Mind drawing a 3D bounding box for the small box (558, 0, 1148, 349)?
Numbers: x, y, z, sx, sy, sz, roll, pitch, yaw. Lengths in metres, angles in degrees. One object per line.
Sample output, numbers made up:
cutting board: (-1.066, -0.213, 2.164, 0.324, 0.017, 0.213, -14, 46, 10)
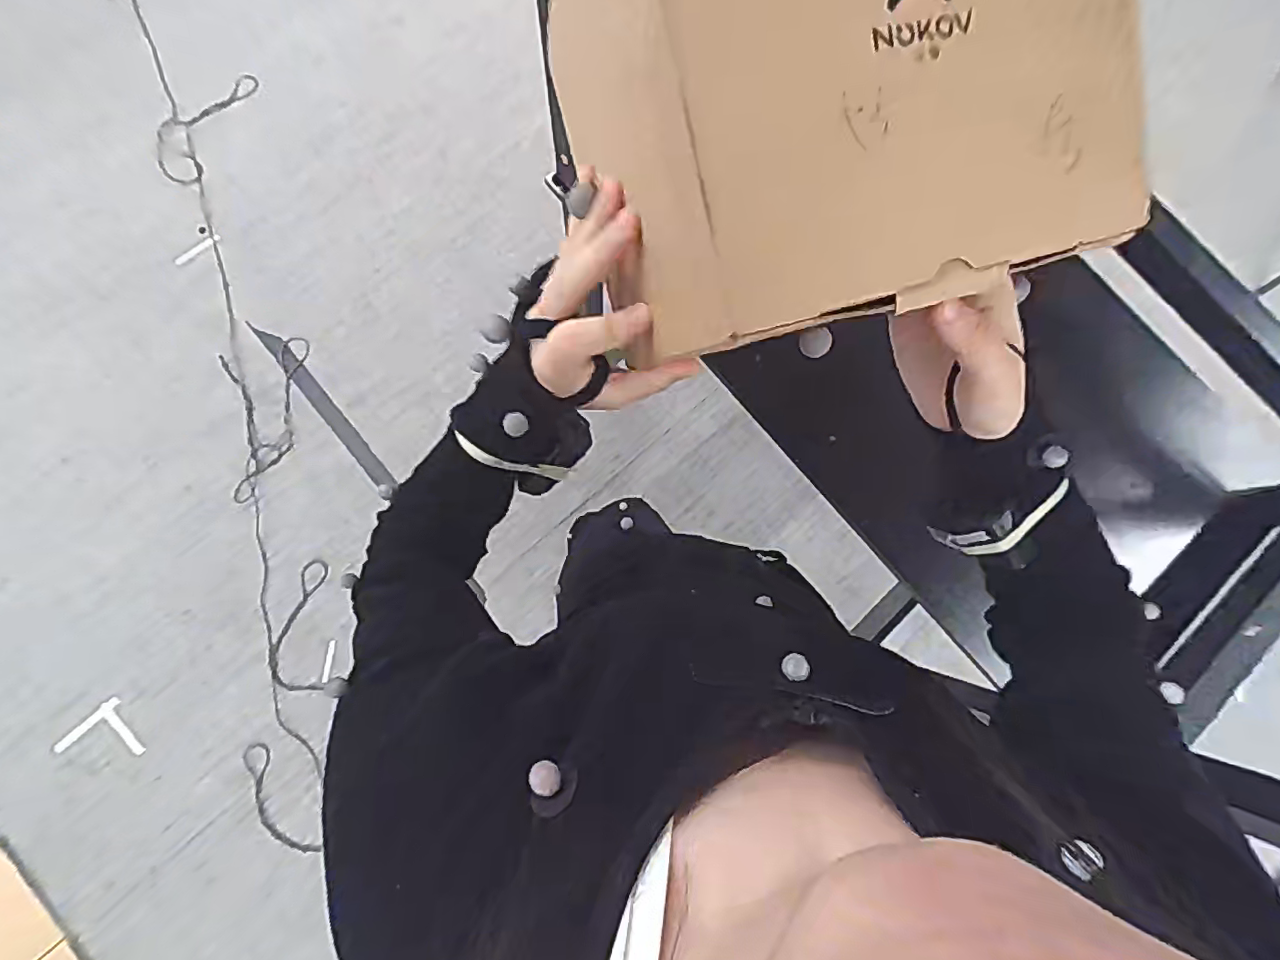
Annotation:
small box: (0.069, -0.163, 0.243, 0.168, 0.176, 0.179, -17, 101, -12)
